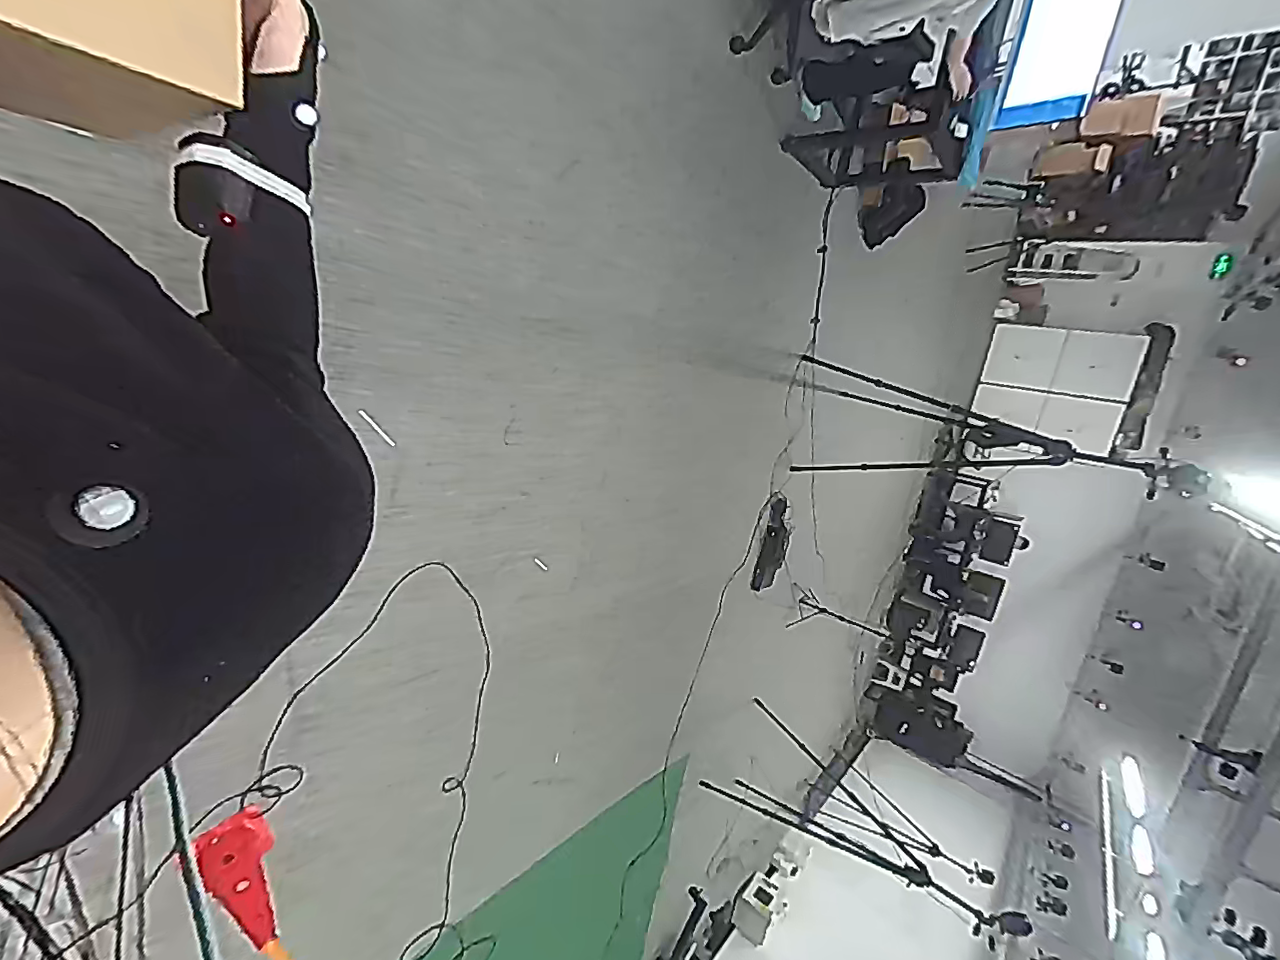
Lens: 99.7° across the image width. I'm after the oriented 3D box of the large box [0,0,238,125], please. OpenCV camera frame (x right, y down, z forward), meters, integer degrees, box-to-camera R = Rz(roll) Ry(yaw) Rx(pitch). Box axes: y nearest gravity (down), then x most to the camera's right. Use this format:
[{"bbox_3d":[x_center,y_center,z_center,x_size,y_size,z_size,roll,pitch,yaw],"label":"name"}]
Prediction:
[{"bbox_3d":[-0.531,-0.452,0.309,0.408,0.320,0.320,-13,116,-53],"label":"large box"}]
